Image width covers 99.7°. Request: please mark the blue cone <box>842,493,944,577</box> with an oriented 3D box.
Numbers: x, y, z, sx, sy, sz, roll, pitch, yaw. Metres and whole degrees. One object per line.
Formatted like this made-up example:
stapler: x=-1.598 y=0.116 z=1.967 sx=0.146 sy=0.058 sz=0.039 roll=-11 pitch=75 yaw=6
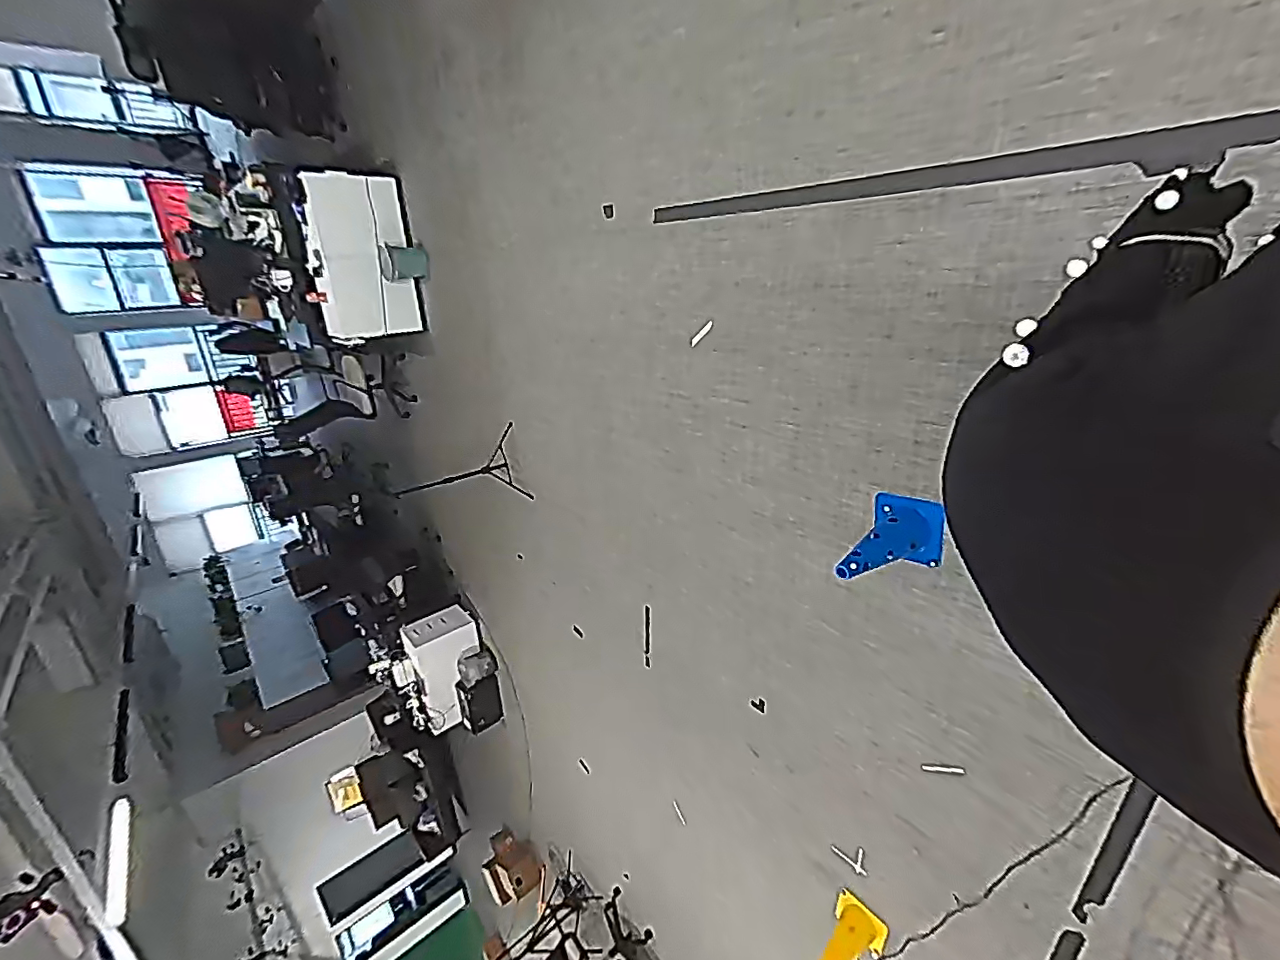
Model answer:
blue cone: x=0.658 y=0.179 z=1.481 sx=0.192 sy=0.380 sz=0.193 roll=16 pitch=118 yaw=48
